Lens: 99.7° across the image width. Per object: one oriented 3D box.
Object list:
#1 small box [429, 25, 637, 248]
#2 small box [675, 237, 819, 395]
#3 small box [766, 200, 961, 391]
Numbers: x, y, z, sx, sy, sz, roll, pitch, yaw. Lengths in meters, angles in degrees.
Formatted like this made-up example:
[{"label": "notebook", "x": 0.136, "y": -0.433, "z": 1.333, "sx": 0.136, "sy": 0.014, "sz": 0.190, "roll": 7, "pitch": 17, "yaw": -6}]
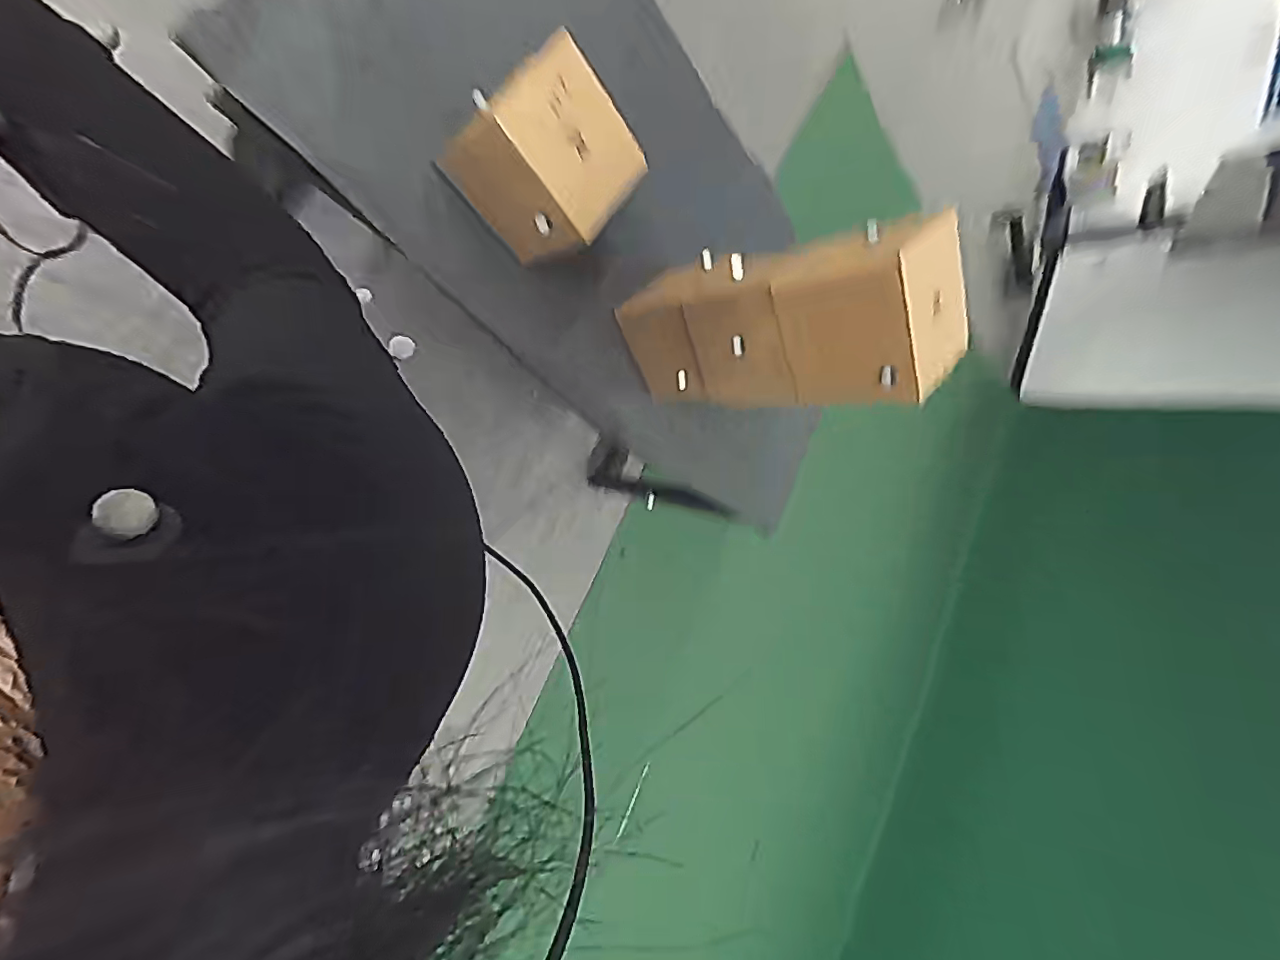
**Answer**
[{"label": "small box", "x": -0.144, "y": -0.439, "z": 0.728, "sx": 0.179, "sy": 0.176, "sz": 0.168, "roll": 44, "pitch": 67, "yaw": -36}, {"label": "small box", "x": 0.182, "y": -0.242, "z": 0.820, "sx": 0.168, "sy": 0.176, "sz": 0.179, "roll": -38, "pitch": 119, "yaw": -31}, {"label": "small box", "x": 0.286, "y": -0.225, "z": 0.695, "sx": 0.168, "sy": 0.176, "sz": 0.179, "roll": -41, "pitch": 121, "yaw": -30}]
